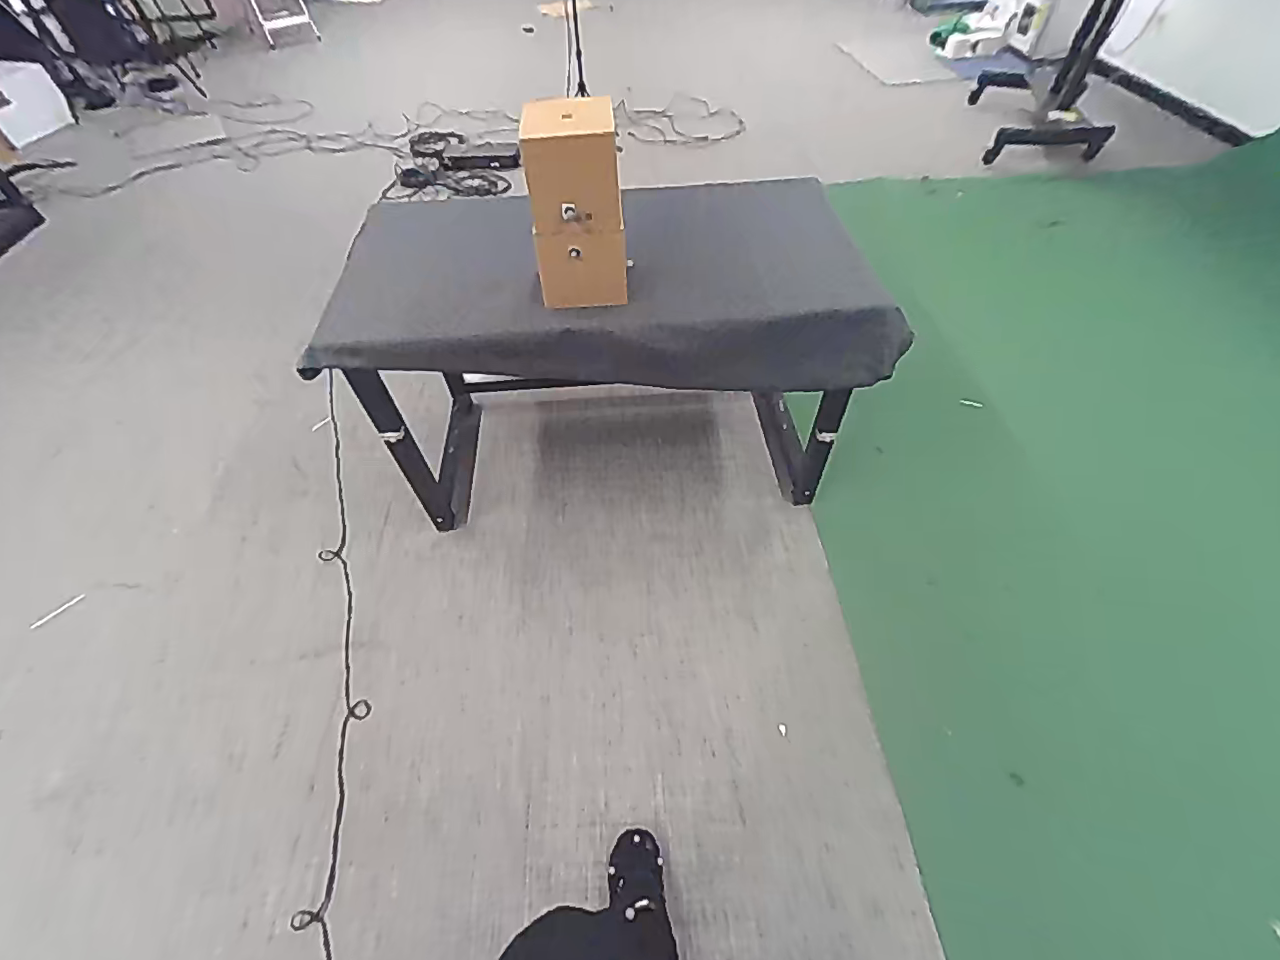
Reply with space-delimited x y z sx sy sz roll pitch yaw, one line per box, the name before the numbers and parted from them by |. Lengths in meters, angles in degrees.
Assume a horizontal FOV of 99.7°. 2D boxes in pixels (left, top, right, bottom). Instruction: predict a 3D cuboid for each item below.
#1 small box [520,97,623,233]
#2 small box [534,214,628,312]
small box | -0.123 -0.589 1.017 0.168 0.176 0.179 -6 53 -1
small box | -0.120 -0.474 1.153 0.179 0.176 0.168 -3 52 -1
